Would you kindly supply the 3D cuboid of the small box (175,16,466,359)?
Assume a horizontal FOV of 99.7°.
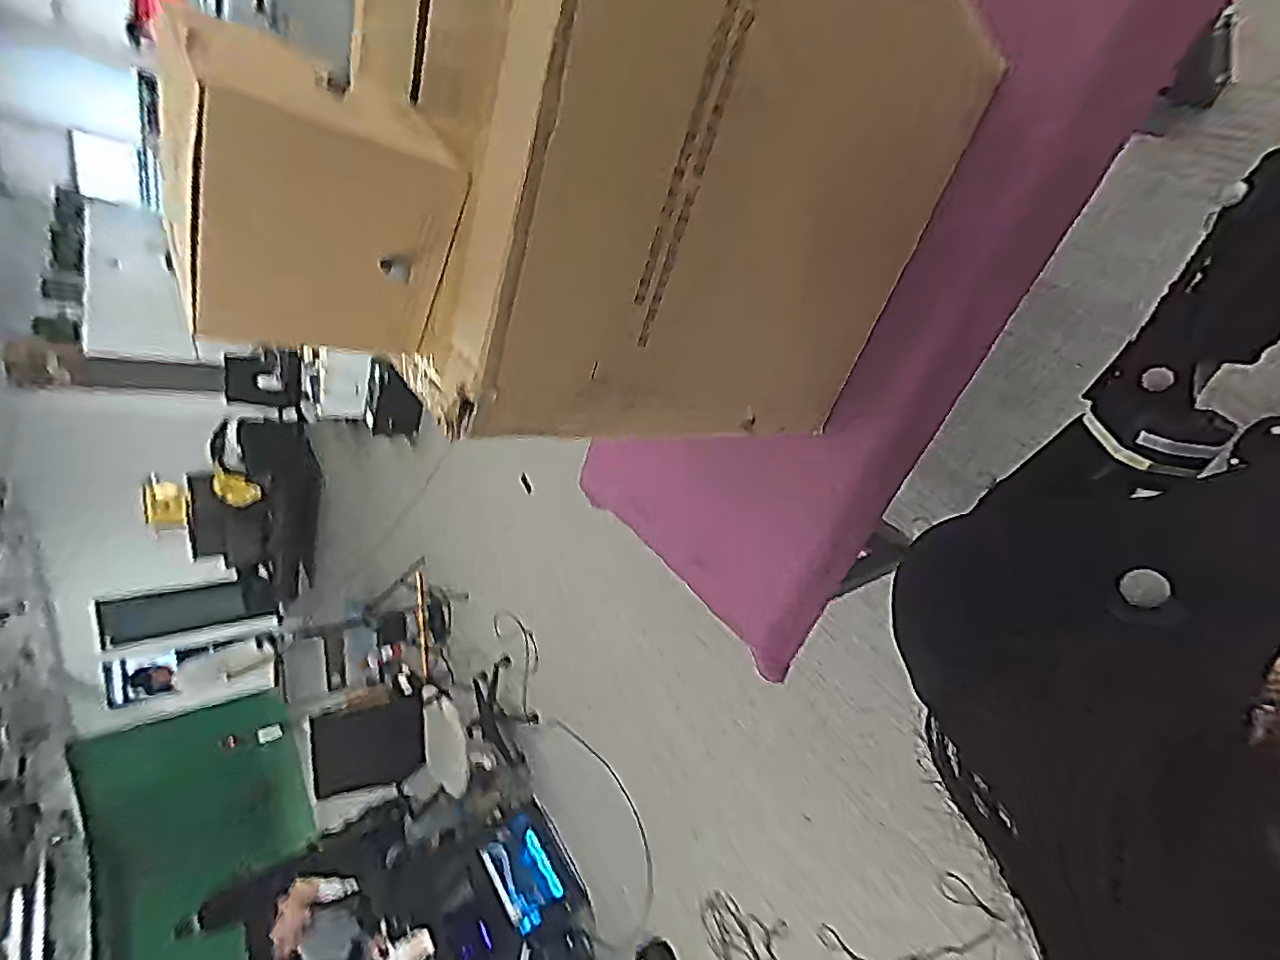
[{"bbox_3d":[-0.267,-0.223,0.455,0.168,0.176,0.179,54,128,28],"label":"small box"}]
